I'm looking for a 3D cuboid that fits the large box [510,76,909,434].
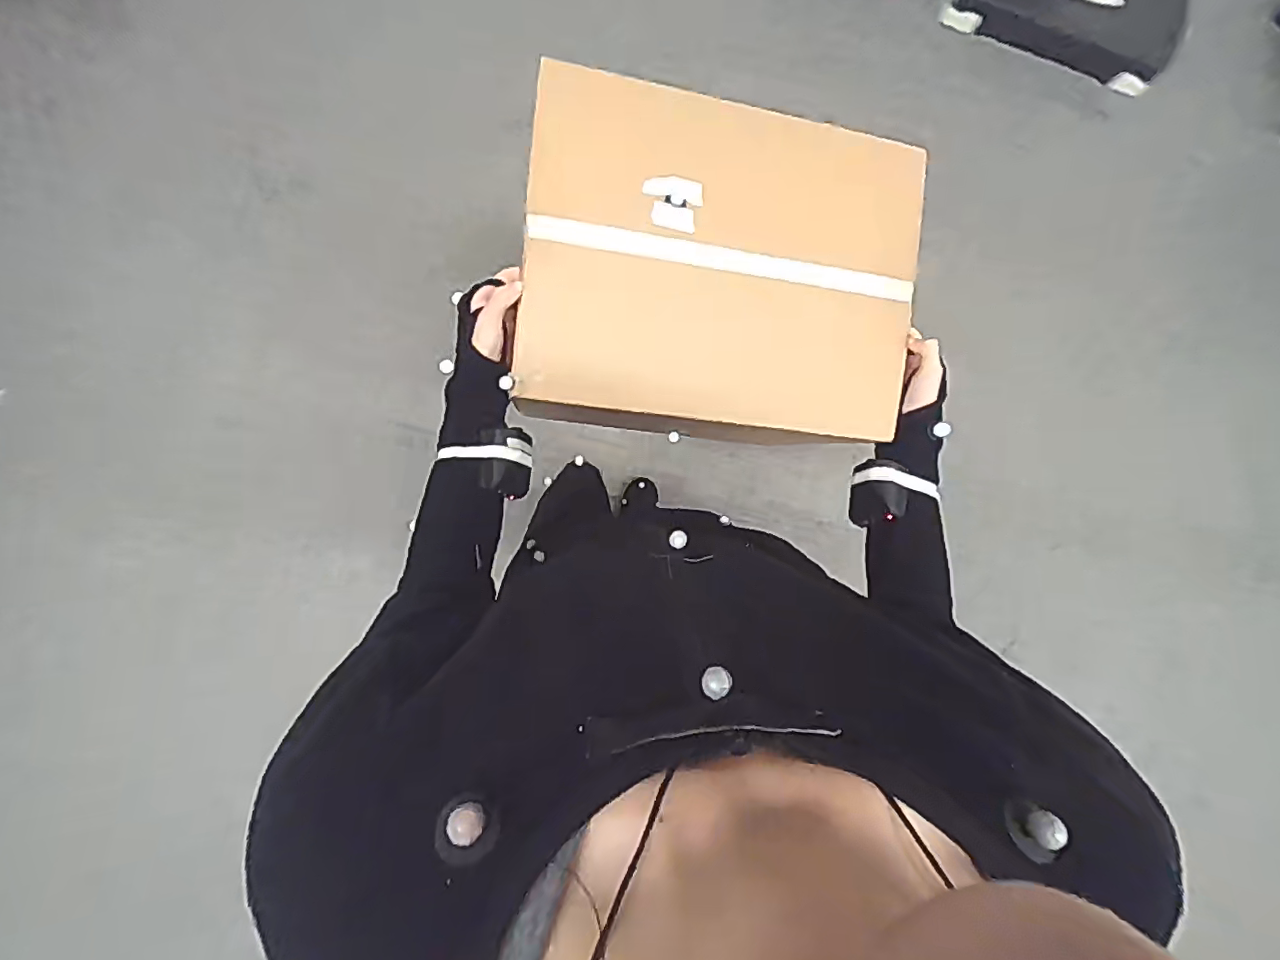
[{"bbox_3d":[0.058,-0.227,0.697,0.408,0.320,0.320,5,92,-10],"label":"large box"}]
